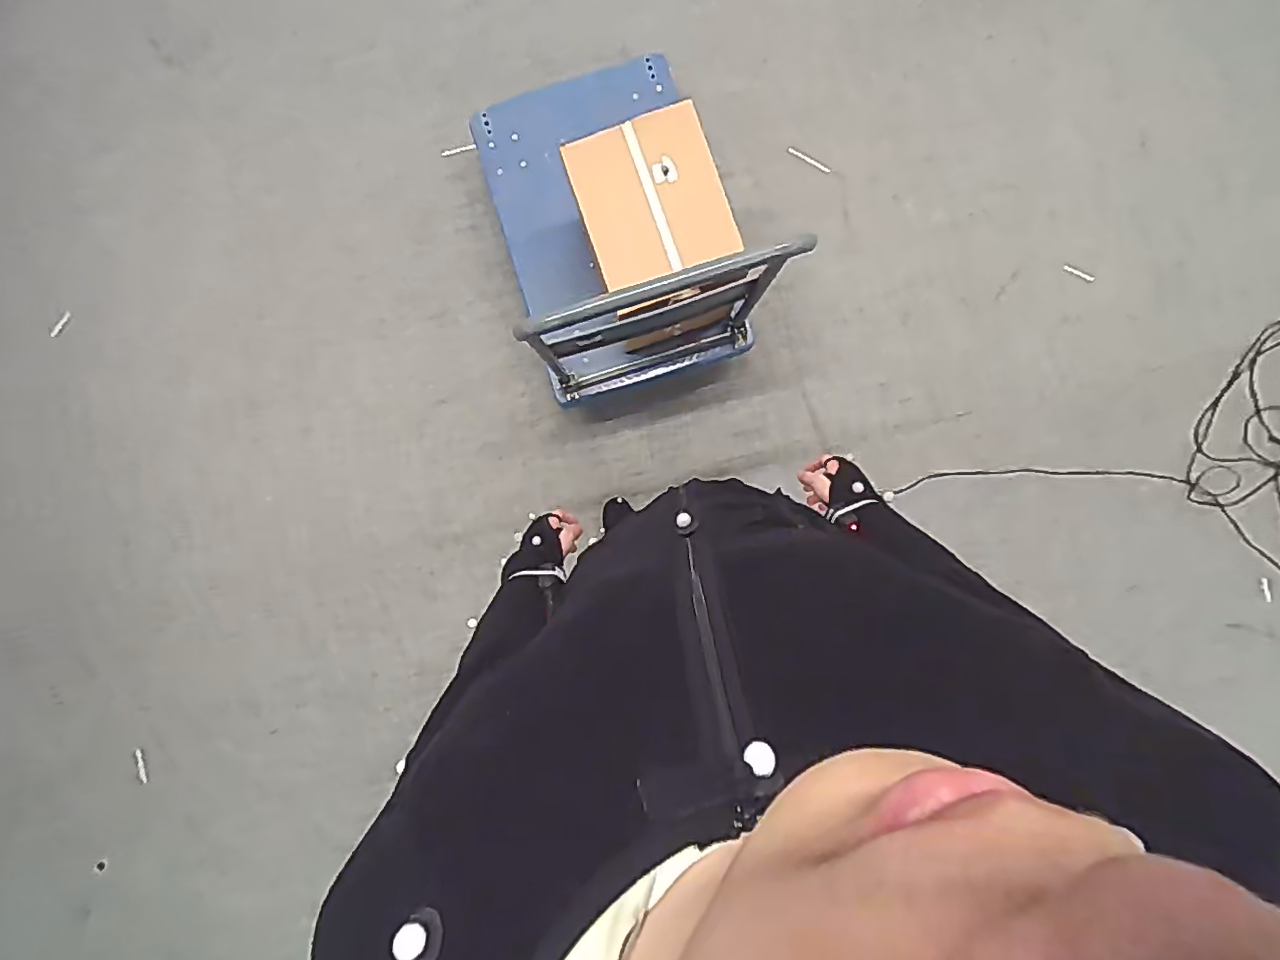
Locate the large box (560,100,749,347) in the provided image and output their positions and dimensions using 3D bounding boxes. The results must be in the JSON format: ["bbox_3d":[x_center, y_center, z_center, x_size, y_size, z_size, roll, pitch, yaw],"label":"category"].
[{"bbox_3d":[0.038,-0.599,1.337,0.320,0.320,0.408,-19,88,1],"label":"large box"}]
